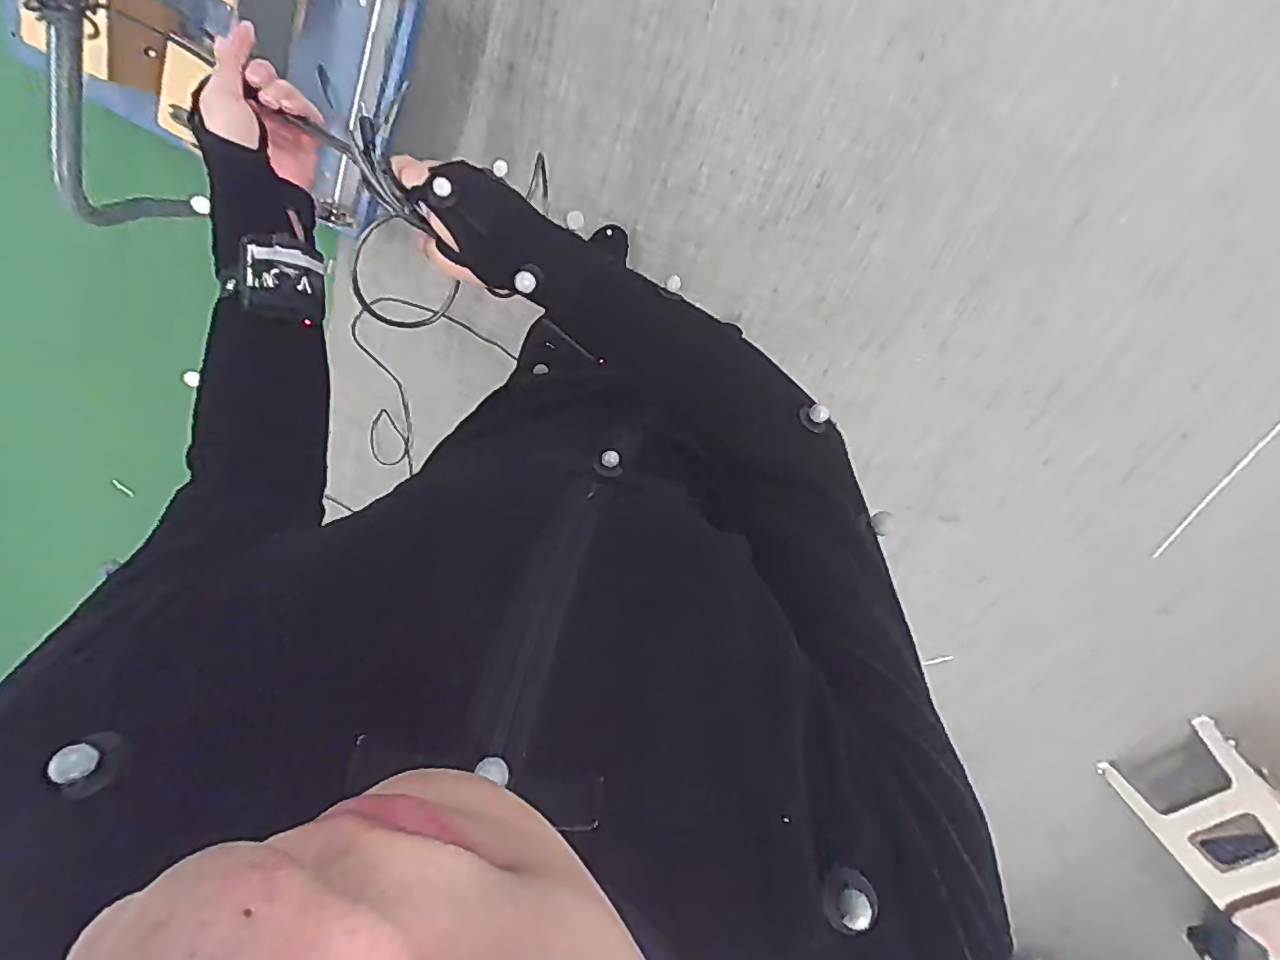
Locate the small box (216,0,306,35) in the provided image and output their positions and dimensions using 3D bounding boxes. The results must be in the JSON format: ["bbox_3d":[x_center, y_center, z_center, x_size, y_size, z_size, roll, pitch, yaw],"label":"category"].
[{"bbox_3d":[-0.777,-1.010,1.041,0.179,0.176,0.168,29,115,-7],"label":"small box"}]

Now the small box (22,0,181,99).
[{"bbox_3d":[-1.107,-0.928,1.124,0.179,0.176,0.168,25,115,-4],"label":"small box"}]
